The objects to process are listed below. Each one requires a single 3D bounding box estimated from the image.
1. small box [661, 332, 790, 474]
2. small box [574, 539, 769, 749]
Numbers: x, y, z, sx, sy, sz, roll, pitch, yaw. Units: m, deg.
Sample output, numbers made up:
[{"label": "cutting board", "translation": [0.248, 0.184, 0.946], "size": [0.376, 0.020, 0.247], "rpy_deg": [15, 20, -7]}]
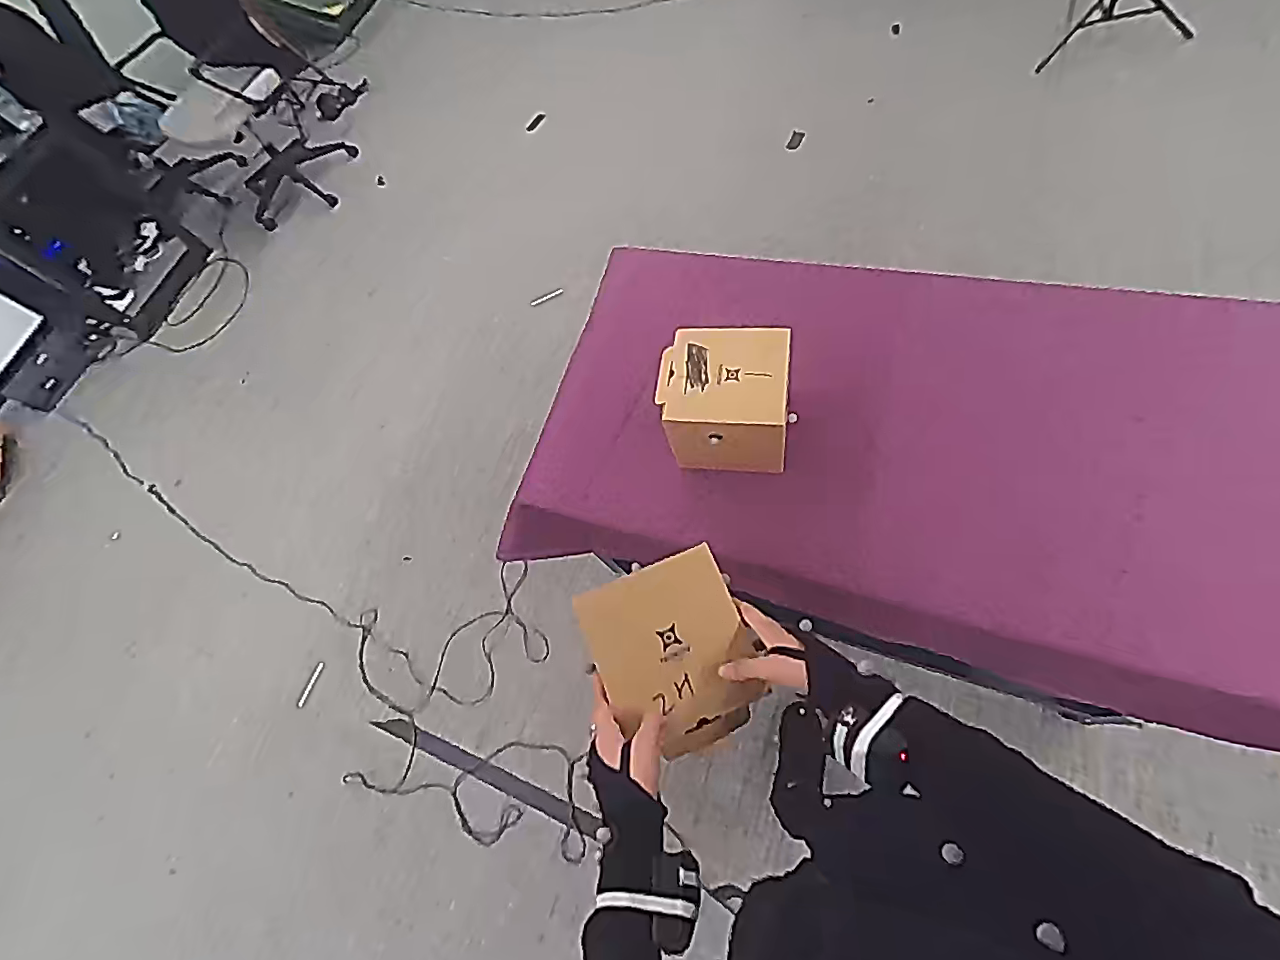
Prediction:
[{"label": "small box", "translation": [0.144, -0.118, 0.866], "size": [0.179, 0.176, 0.168], "rpy_deg": [4, 68, 15]}, {"label": "small box", "translation": [0.025, 0.190, 0.655], "size": [0.168, 0.176, 0.179], "rpy_deg": [-21, 78, -9]}]
